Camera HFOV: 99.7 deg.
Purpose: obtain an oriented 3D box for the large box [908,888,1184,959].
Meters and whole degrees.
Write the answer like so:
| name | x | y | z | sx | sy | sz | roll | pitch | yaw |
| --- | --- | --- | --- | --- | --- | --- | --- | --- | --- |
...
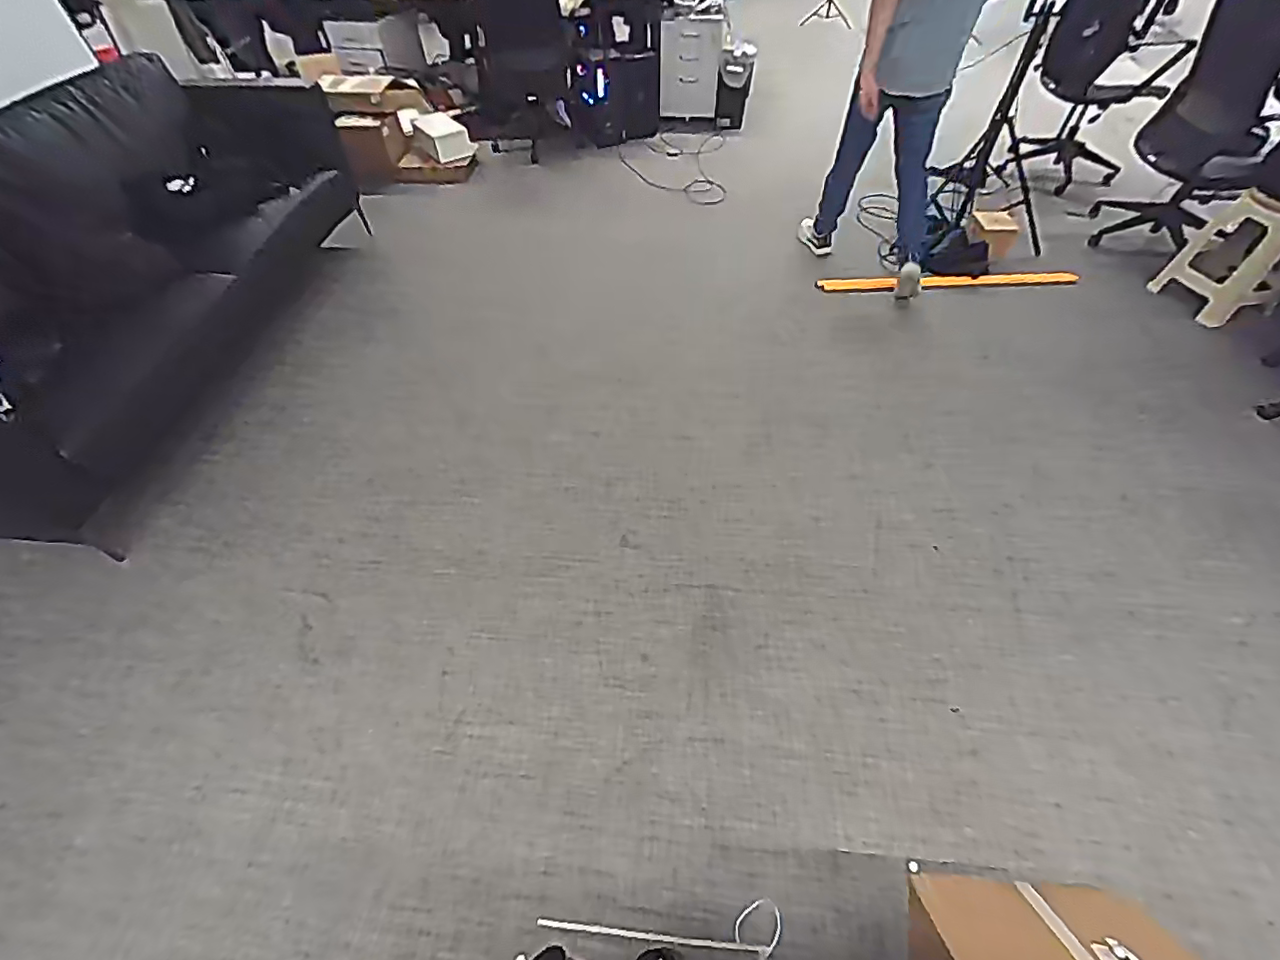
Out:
| name | x | y | z | sx | sy | sz | roll | pitch | yaw |
| --- | --- | --- | --- | --- | --- | --- | --- | --- | --- |
| large box | 0.537 | 0.762 | 0.602 | 0.320 | 0.408 | 0.320 | 1 | 88 | 6 |
